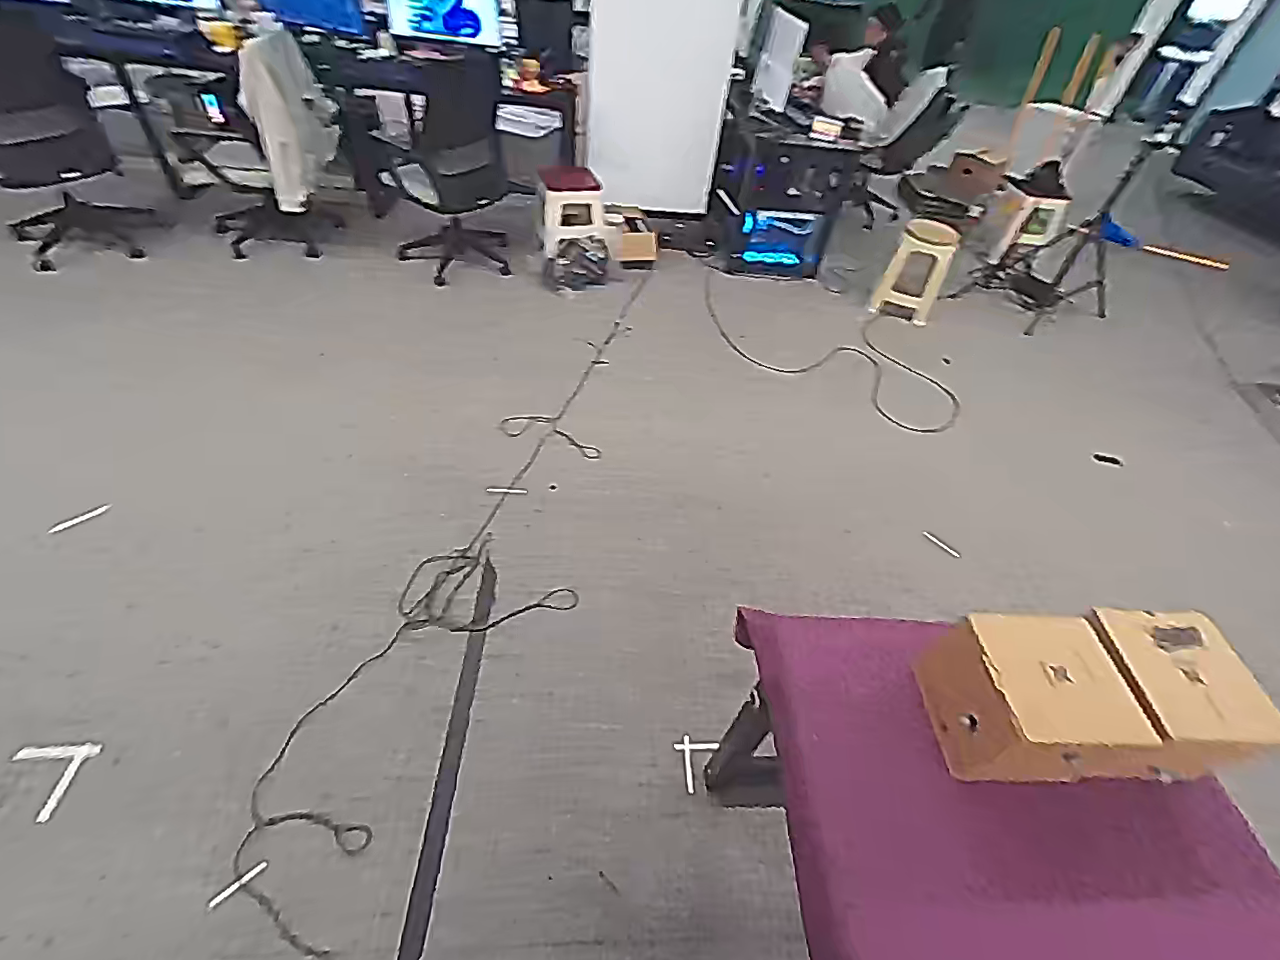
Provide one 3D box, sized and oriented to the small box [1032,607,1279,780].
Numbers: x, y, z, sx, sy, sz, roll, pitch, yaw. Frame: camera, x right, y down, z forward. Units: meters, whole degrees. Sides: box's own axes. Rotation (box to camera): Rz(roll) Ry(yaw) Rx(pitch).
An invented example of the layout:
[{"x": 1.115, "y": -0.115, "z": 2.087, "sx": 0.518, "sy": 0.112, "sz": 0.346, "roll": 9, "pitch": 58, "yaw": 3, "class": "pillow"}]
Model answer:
[{"x": 0.708, "y": 0.301, "z": 0.762, "sx": 0.168, "sy": 0.176, "sz": 0.179, "roll": 3, "pitch": 48, "yaw": -2, "class": "small box"}]
